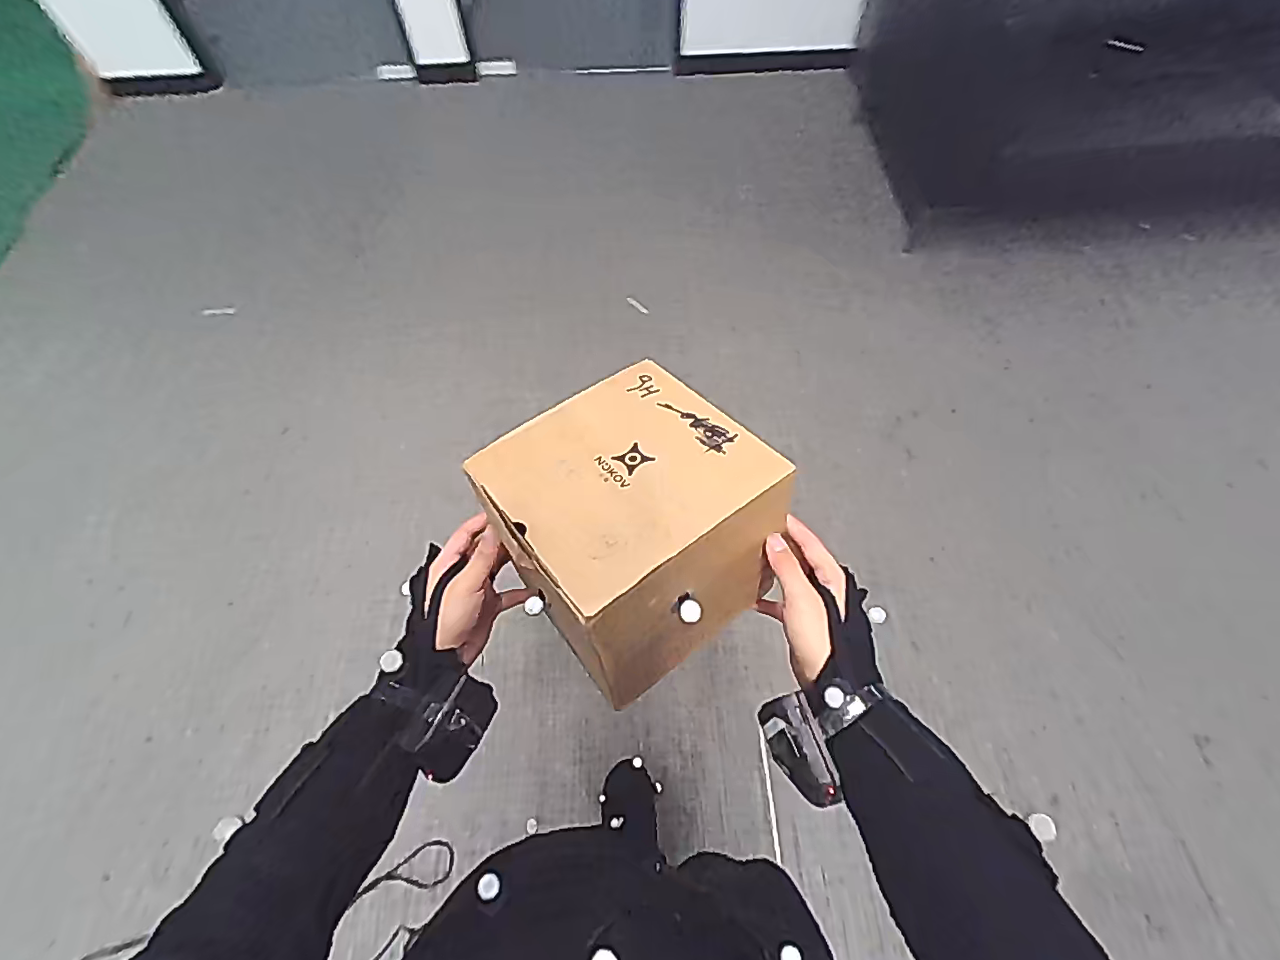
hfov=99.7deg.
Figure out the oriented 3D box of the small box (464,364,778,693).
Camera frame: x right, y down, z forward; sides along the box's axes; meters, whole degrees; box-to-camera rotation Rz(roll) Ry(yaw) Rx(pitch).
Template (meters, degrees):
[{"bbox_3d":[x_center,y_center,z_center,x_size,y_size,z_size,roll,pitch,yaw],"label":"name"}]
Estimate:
[{"bbox_3d":[-0.008,0.042,0.449,0.179,0.176,0.168,-34,55,-20],"label":"small box"}]
